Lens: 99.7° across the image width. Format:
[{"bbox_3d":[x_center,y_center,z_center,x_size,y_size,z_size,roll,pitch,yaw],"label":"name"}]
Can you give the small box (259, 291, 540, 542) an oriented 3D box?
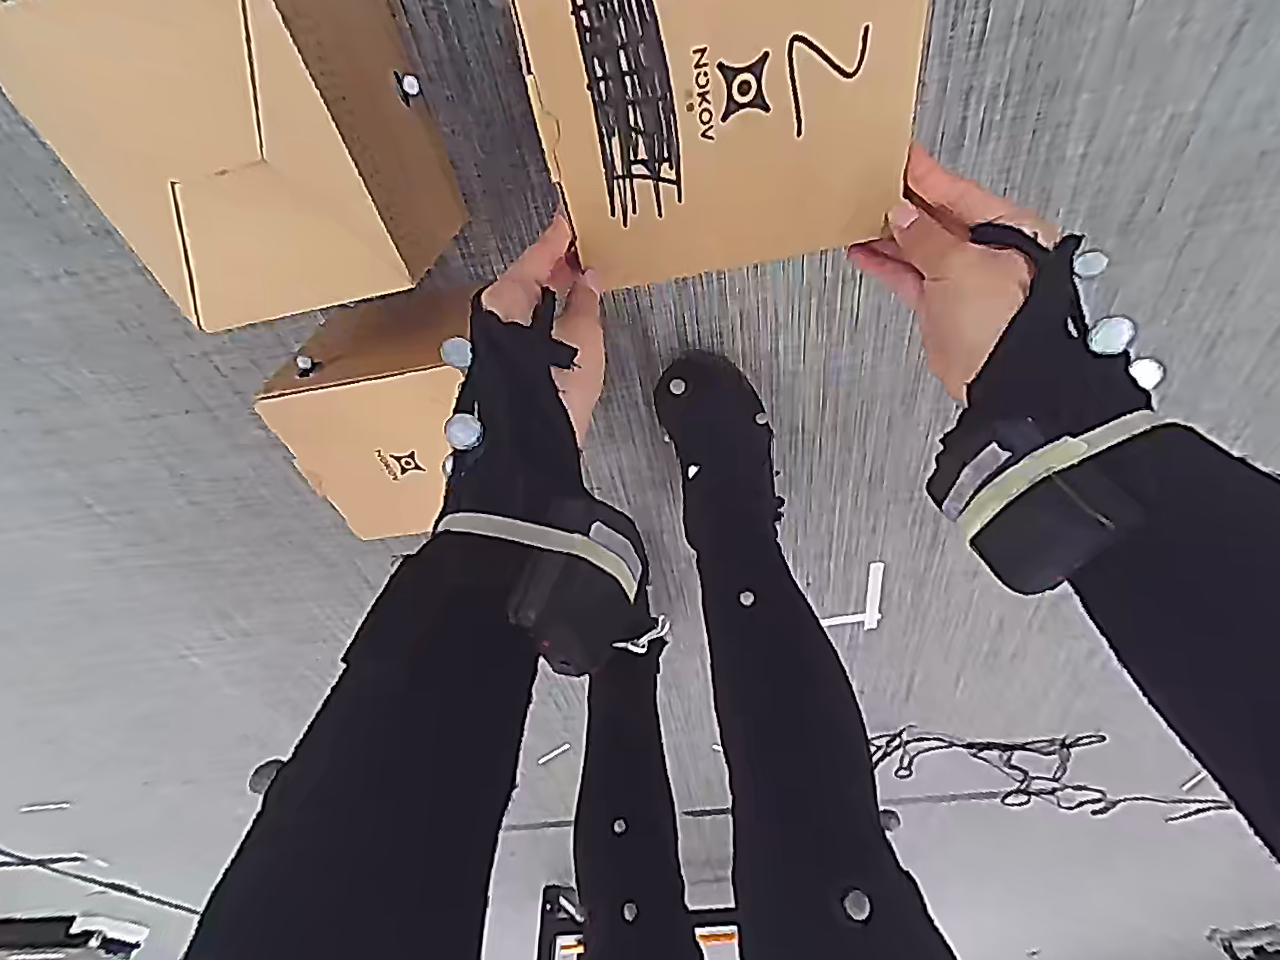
[{"bbox_3d":[-0.203,-0.065,0.525,0.179,0.176,0.168,-8,131,7],"label":"small box"}]
